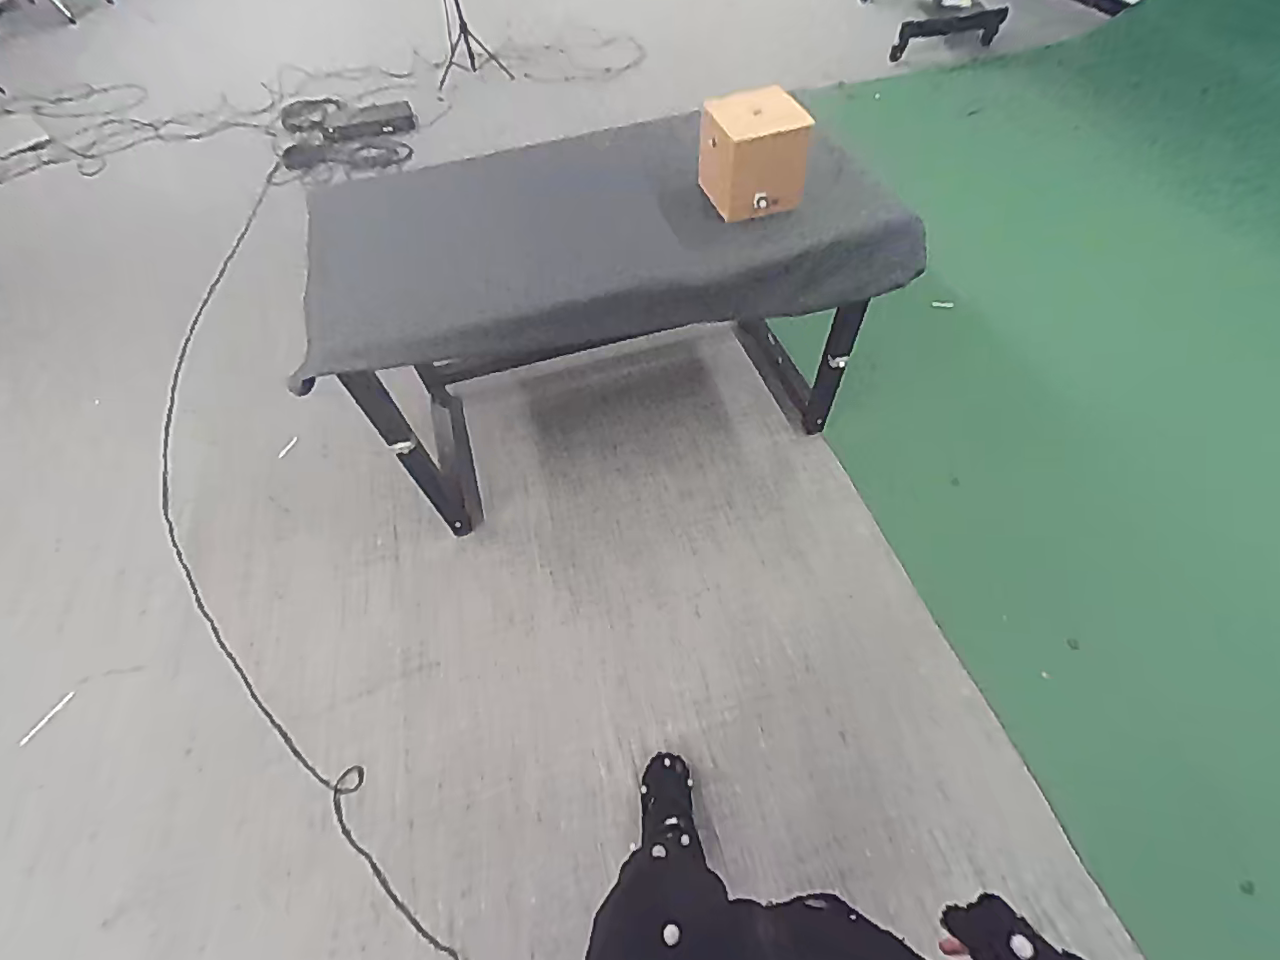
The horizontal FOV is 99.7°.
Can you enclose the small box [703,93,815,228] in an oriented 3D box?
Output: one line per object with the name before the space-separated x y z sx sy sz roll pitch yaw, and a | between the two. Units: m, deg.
small box | 0.233 -0.655 1.115 0.168 0.176 0.179 -17 58 -5
